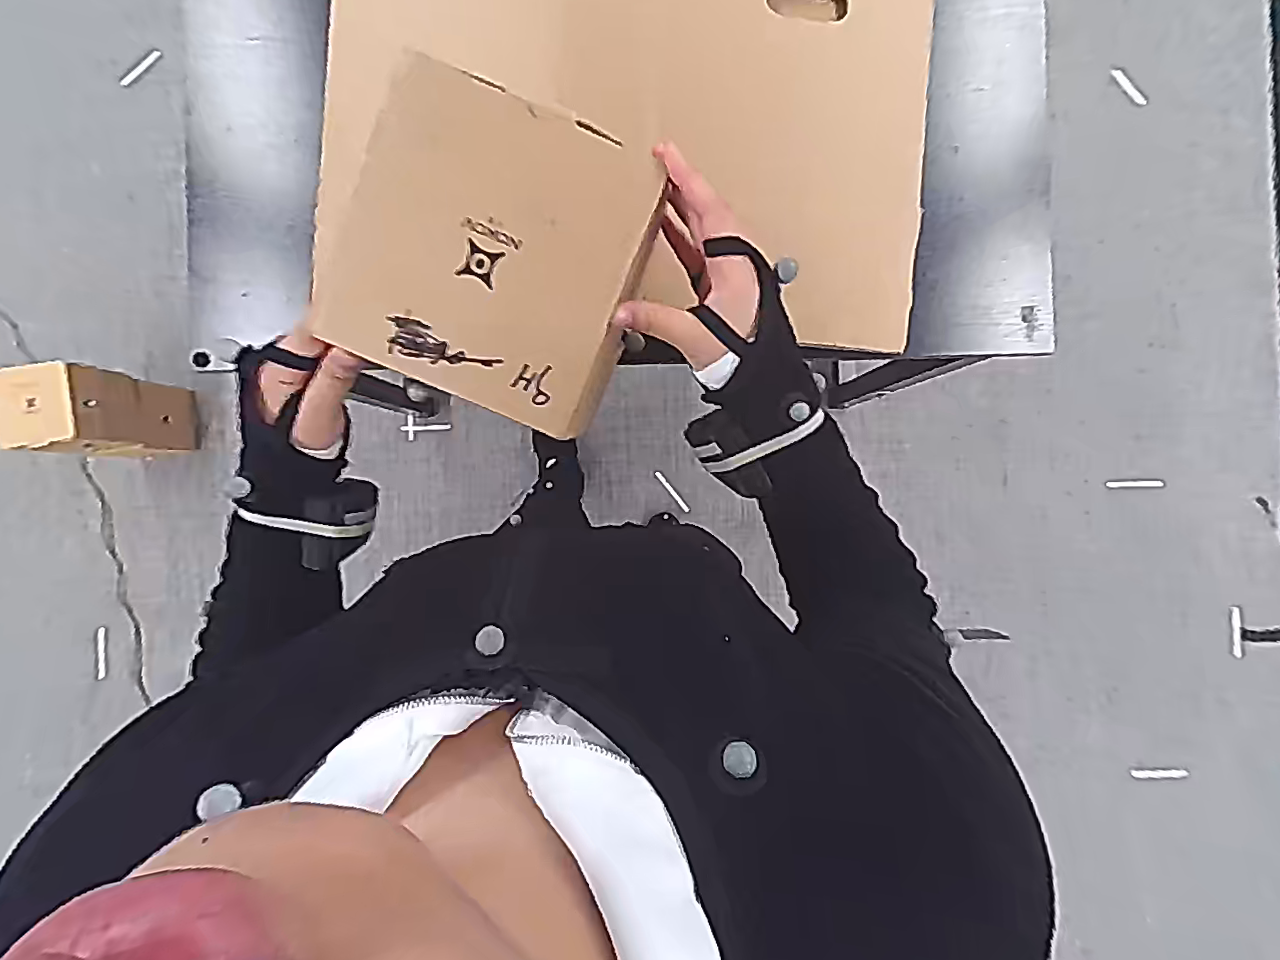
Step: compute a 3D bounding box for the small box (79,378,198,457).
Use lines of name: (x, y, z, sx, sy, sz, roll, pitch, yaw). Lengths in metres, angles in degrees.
small box: (-1.298, -0.157, 1.404, 0.168, 0.176, 0.179, -5, 90, 0)

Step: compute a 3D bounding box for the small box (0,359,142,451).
small box: (-1.299, -0.164, 1.241, 0.168, 0.176, 0.179, -8, 88, -1)

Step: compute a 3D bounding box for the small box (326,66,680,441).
small box: (-0.085, -0.140, 0.405, 0.168, 0.176, 0.179, 23, 94, -2)
